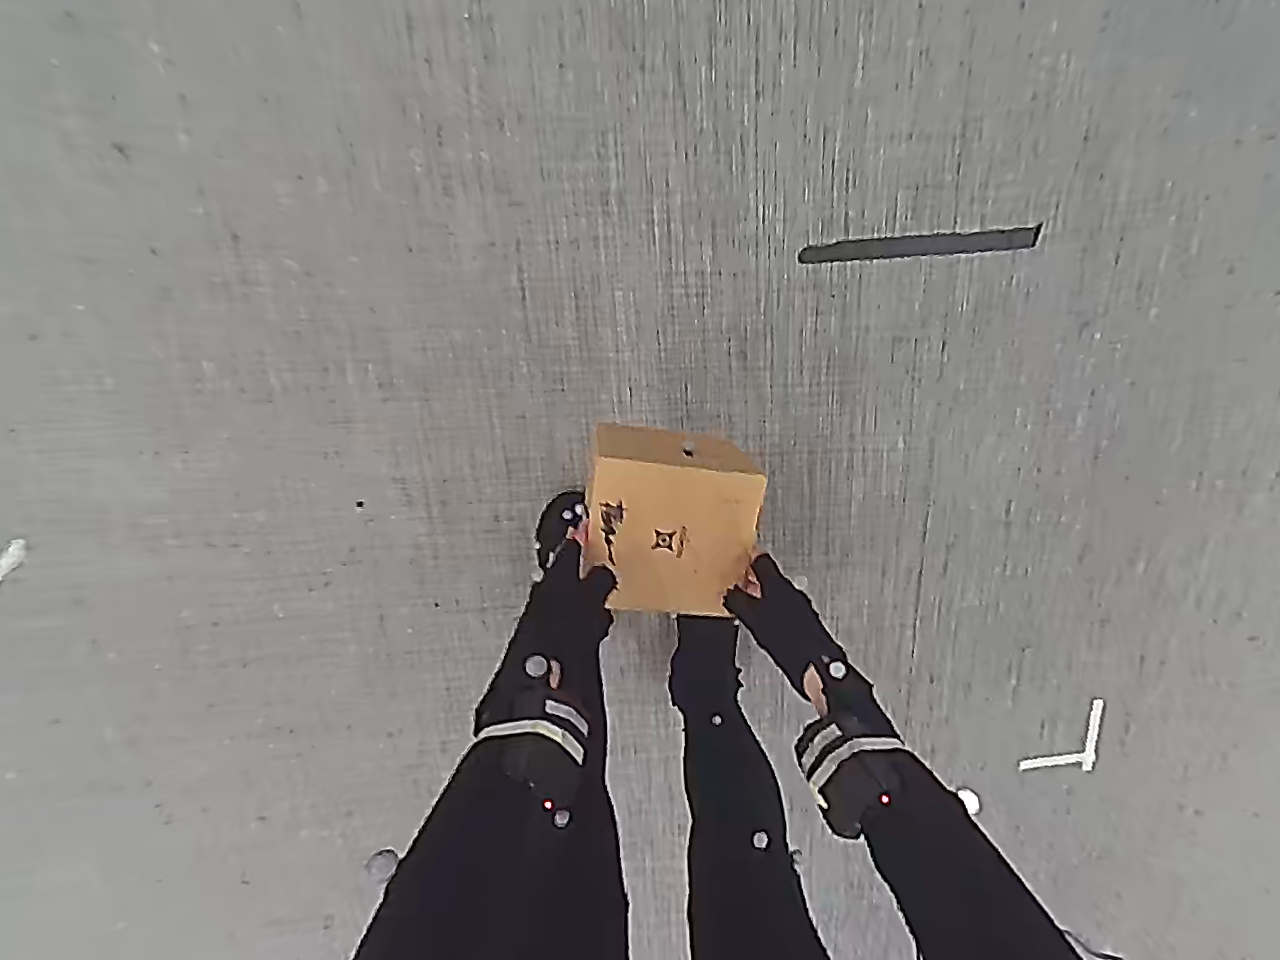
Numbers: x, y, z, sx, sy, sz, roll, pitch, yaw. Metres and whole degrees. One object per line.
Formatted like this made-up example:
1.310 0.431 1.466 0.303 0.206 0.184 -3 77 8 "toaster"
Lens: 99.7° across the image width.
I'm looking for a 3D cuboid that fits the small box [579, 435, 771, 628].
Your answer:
0.026 0.050 0.624 0.179 0.176 0.168 6 107 -8 "small box"
